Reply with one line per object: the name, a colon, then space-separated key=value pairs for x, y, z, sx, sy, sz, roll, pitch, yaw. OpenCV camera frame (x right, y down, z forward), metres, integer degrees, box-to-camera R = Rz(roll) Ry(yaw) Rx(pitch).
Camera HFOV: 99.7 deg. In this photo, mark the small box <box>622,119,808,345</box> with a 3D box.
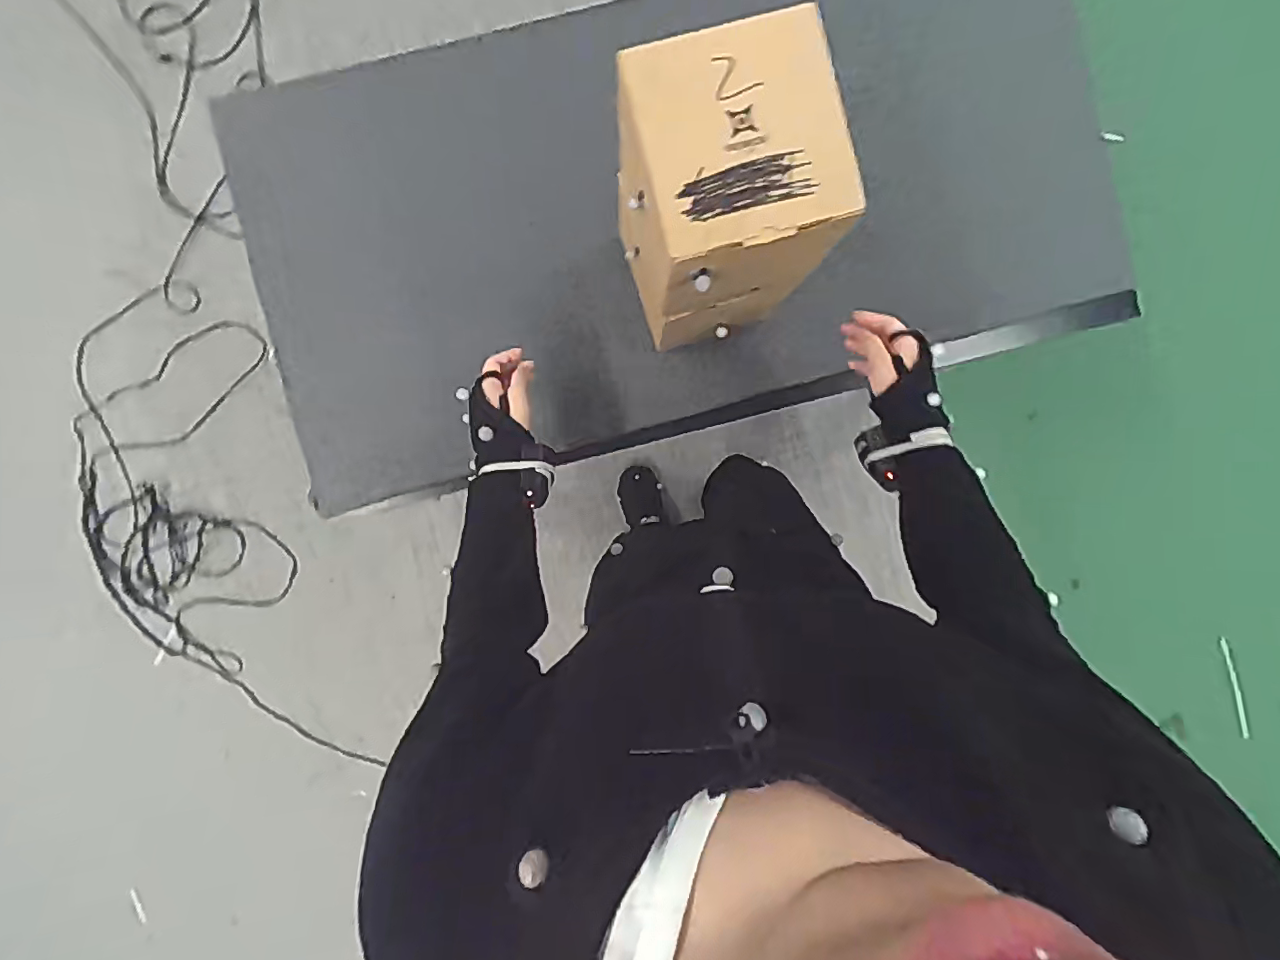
small box: x=0.079 y=-0.289 z=0.667 sx=0.168 sy=0.176 sz=0.179 roll=-19 pitch=91 yaw=0
